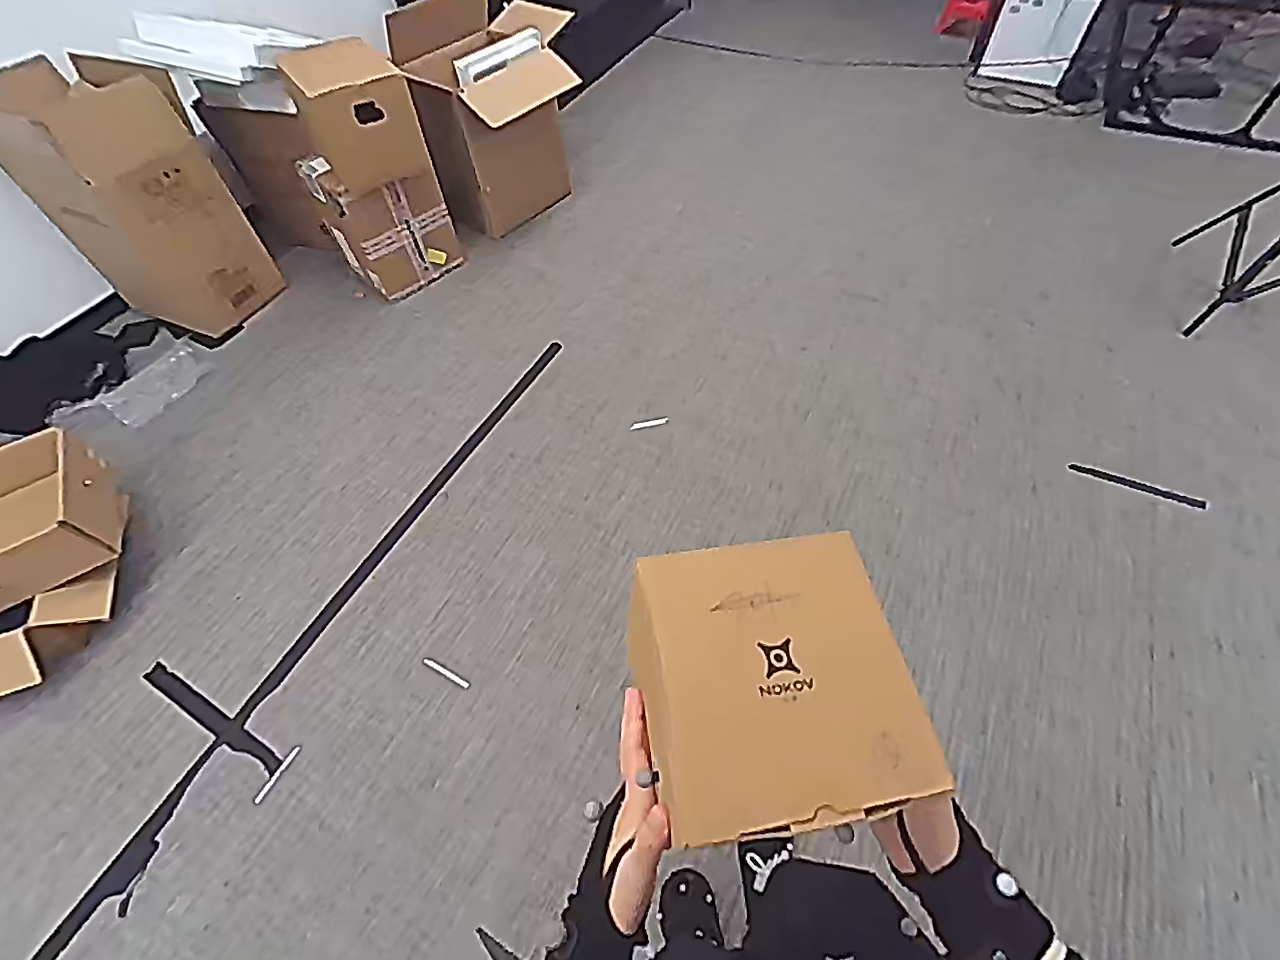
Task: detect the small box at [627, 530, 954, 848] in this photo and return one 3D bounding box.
[{"bbox_3d":[0.085,0.161,0.412,0.168,0.176,0.179,-6,56,-9],"label":"small box"}]
